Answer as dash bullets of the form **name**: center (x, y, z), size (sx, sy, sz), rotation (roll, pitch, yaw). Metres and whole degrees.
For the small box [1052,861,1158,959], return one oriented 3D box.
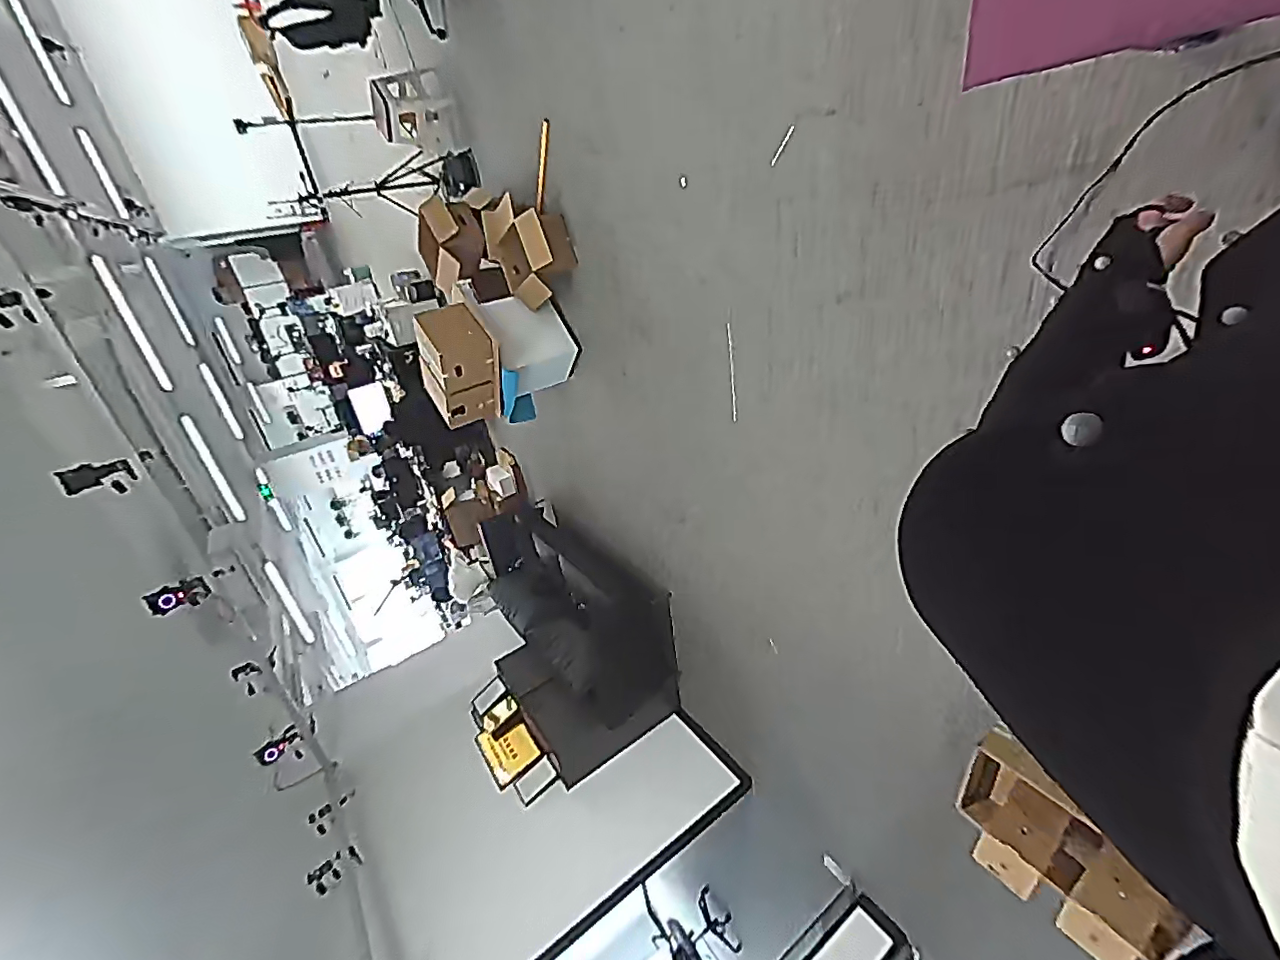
- **small box**: center (1.342, 1.264, 1.560), size (0.168, 0.176, 0.179), rotation (31, 137, 49)
